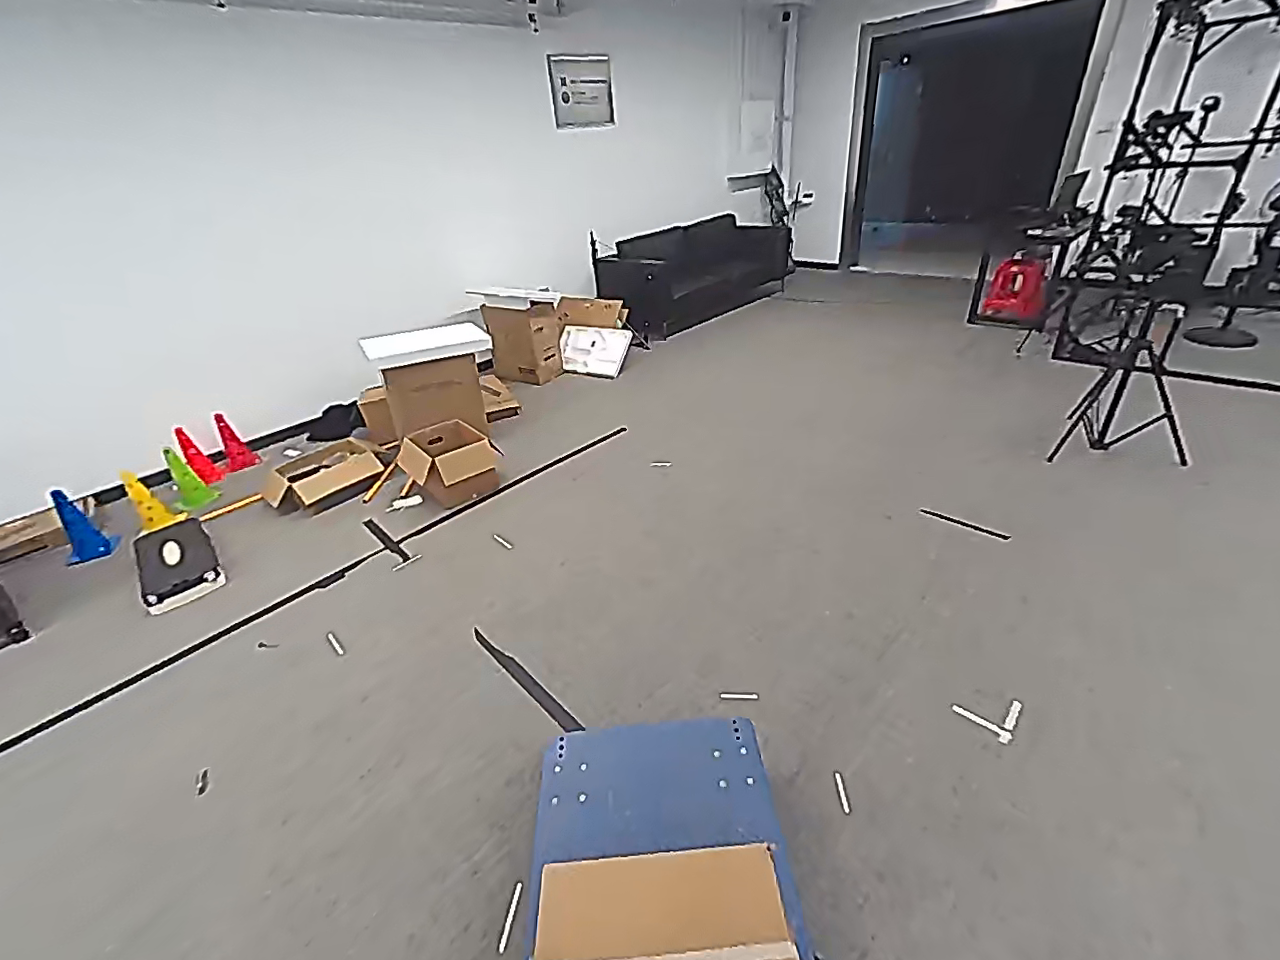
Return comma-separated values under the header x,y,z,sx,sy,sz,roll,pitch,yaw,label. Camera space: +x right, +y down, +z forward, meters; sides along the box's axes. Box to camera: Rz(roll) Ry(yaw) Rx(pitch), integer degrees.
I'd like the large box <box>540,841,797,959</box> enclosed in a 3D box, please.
x,y,z,sx,sy,sz,roll,pitch,yaw,label
0.050,0.871,0.906,0.408,0.320,0.320,-5,31,-1,large box
